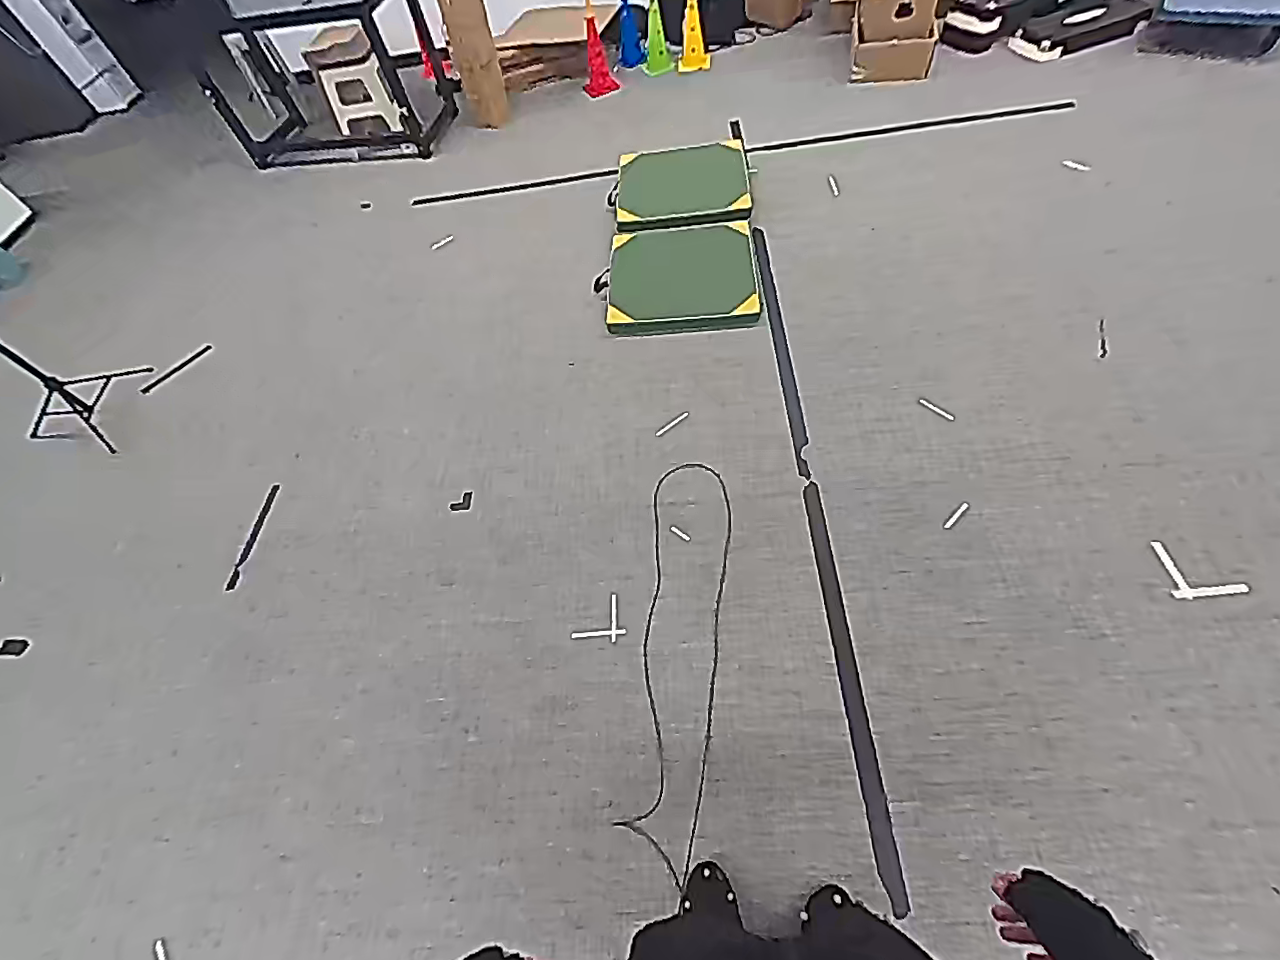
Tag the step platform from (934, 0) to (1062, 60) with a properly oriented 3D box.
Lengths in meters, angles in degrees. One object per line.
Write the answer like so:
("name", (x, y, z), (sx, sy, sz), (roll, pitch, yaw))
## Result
("step platform", (2.039, -2.633, 3.062), (0.684, 0.204, 0.286), (-29, 58, -10))
